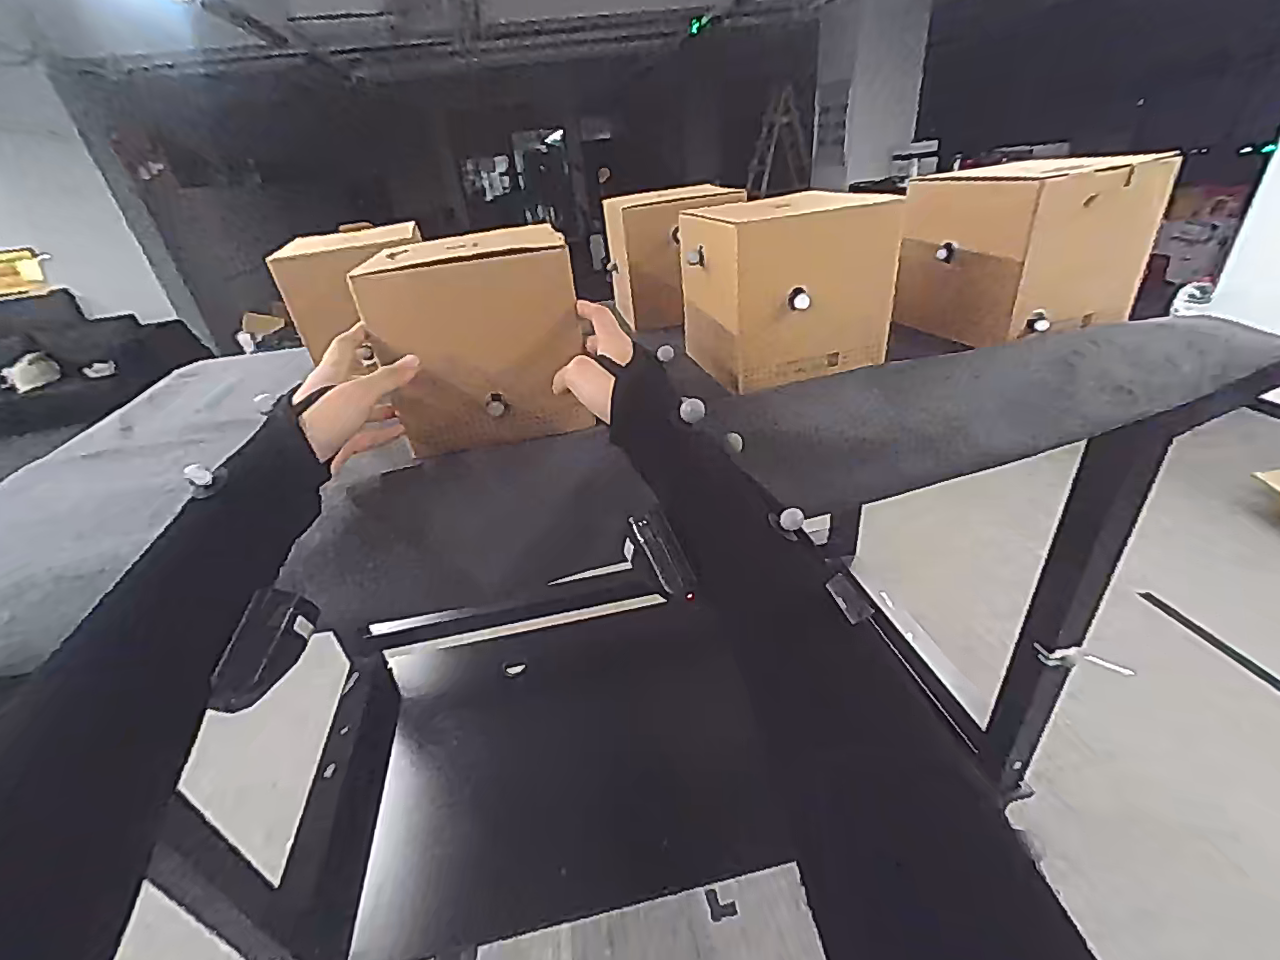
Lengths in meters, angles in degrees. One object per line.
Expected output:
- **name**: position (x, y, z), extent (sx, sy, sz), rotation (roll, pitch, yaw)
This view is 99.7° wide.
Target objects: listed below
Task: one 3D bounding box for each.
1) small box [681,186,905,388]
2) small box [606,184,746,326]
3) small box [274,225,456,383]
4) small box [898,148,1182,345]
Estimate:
- **small box**: position (0.151, -0.208, 0.582), extent (0.168, 0.176, 0.179), rotation (-12, 31, -8)
- **small box**: position (0.055, -0.341, 0.819), extent (0.179, 0.176, 0.168), rotation (-11, 32, -6)
- **small box**: position (-0.364, -0.249, 0.754), extent (0.168, 0.176, 0.179), rotation (-15, 32, -11)
- **small box**: position (0.421, -0.259, 0.604), extent (0.168, 0.176, 0.179), rotation (-14, 30, -11)
